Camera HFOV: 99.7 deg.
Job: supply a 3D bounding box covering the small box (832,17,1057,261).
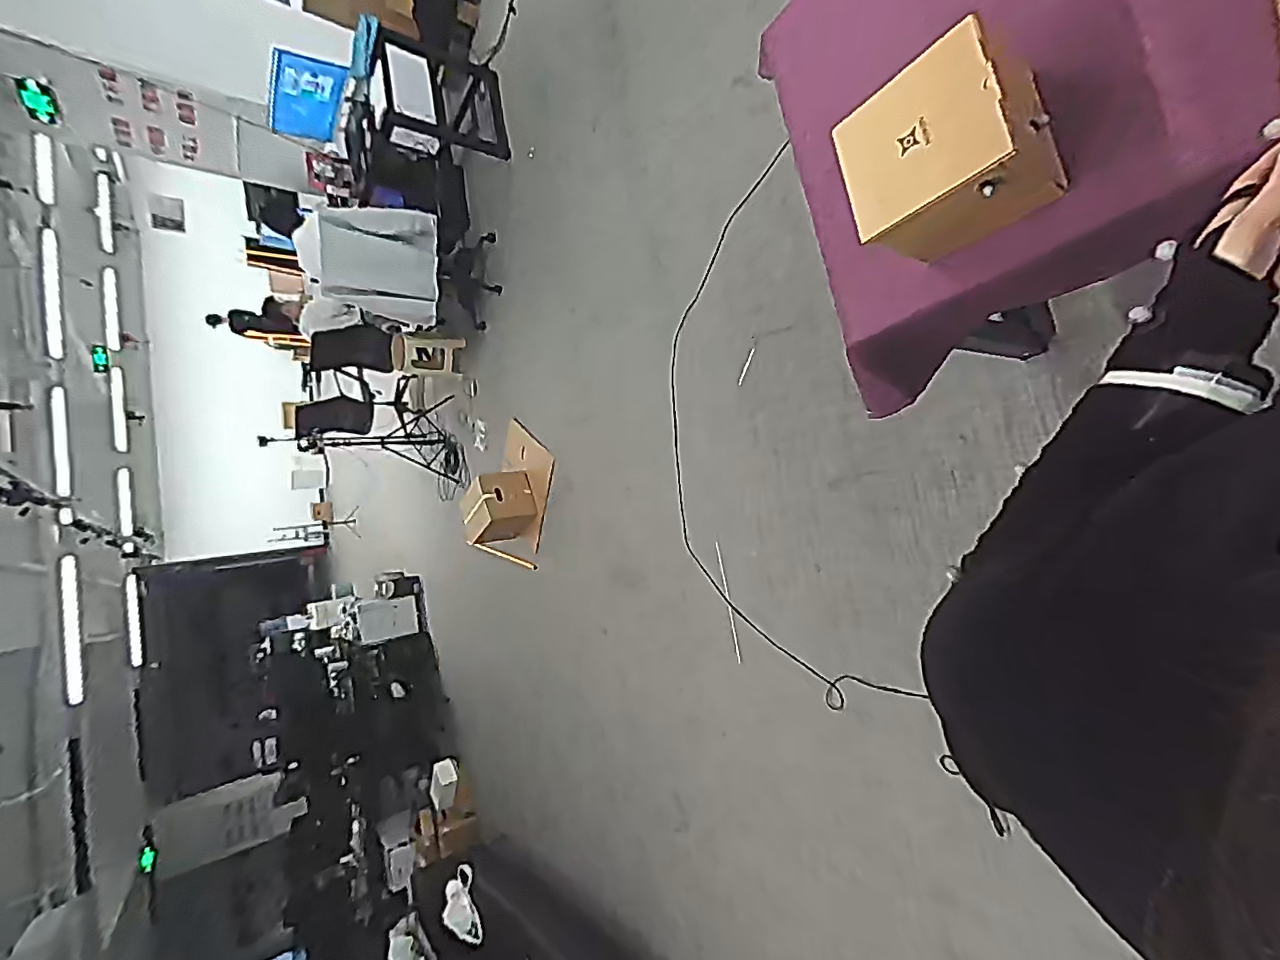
[{"bbox_3d":[0.379,-0.402,0.680,0.179,0.176,0.168,-20,78,50],"label":"small box"}]
